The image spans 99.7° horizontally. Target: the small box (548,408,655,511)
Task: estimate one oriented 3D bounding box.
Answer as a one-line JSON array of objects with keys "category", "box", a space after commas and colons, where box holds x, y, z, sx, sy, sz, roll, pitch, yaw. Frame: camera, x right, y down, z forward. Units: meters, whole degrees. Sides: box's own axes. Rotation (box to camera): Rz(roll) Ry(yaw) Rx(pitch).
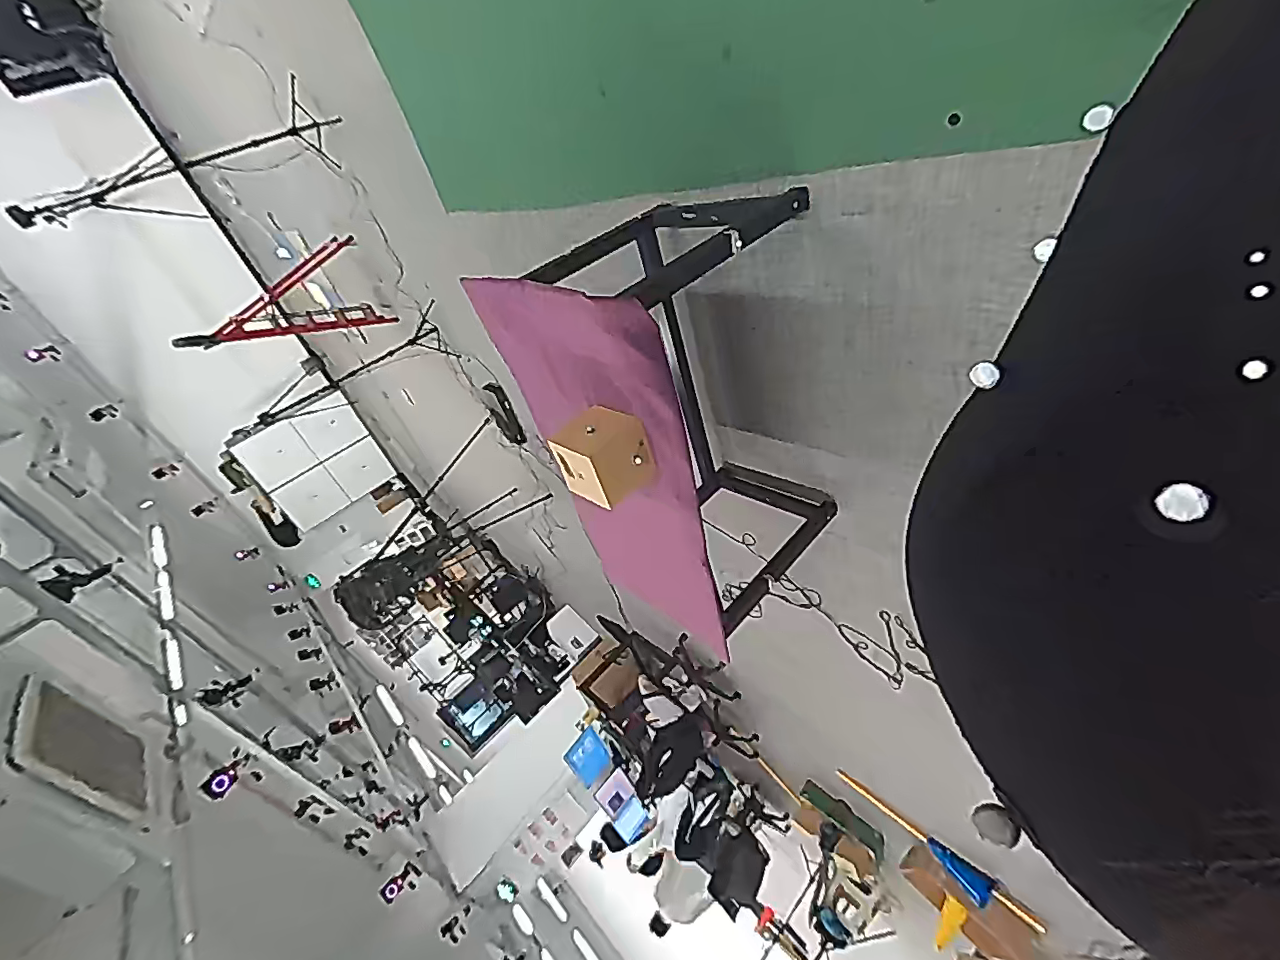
[{"category": "small box", "box": [-0.091, -0.058, 1.333, 0.179, 0.176, 0.168, 23, 143, 43]}]
